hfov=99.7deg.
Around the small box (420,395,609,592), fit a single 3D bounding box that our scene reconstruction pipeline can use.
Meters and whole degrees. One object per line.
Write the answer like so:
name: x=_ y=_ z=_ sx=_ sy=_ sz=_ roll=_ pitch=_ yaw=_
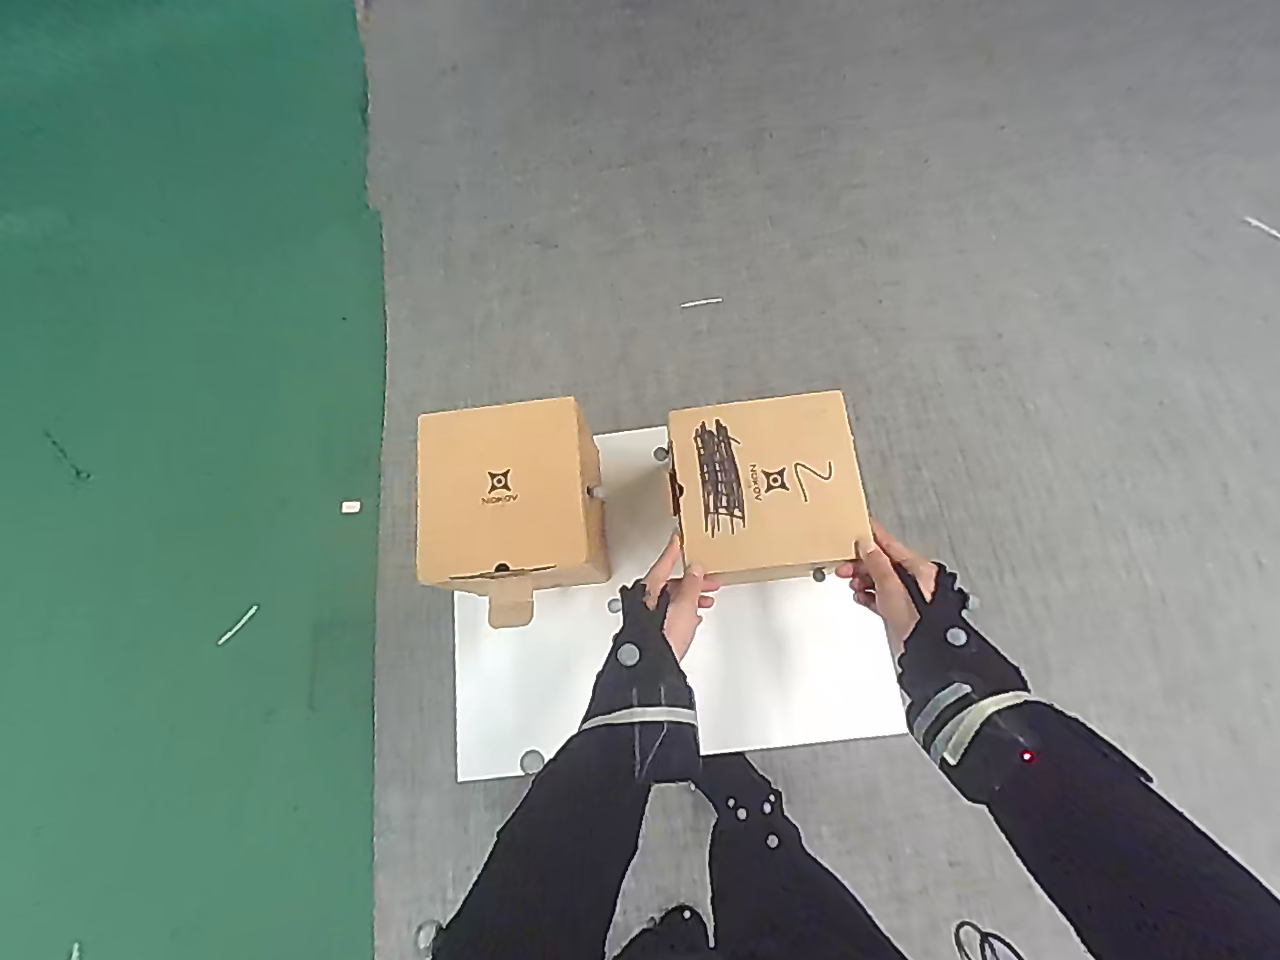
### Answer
small box: x=-0.130 y=0.025 z=0.607 sx=0.168 sy=0.176 sz=0.179 roll=-7 pitch=75 yaw=2
